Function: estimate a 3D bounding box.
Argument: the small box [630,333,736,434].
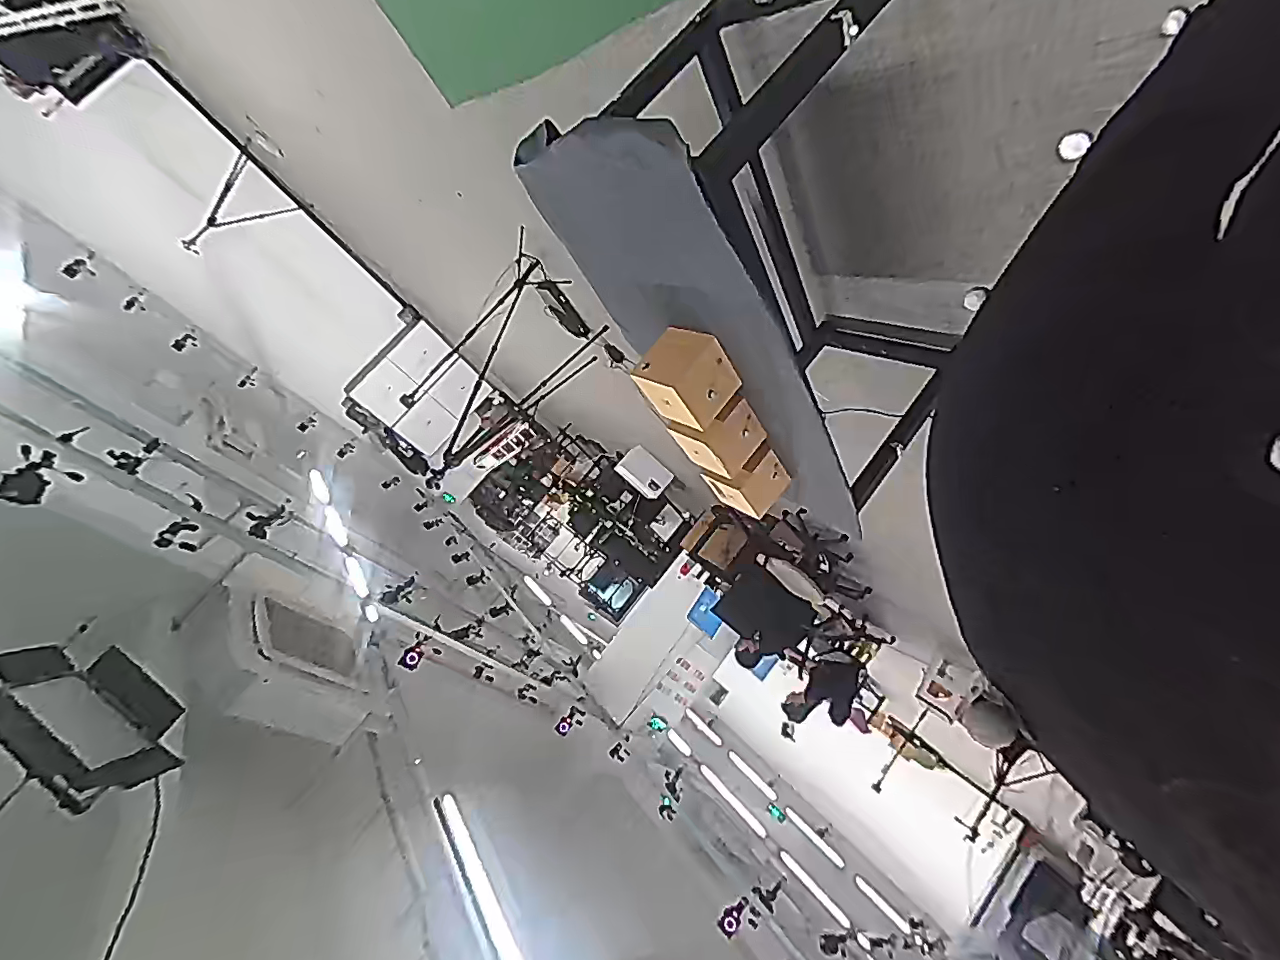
[{"bbox_3d":[0.116,-0.247,1.351,0.179,0.176,0.168,30,166,48],"label":"small box"}]

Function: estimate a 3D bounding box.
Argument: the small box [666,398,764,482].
[{"bbox_3d":[0.212,-0.129,1.516,0.179,0.176,0.168,29,166,49],"label":"small box"}]
